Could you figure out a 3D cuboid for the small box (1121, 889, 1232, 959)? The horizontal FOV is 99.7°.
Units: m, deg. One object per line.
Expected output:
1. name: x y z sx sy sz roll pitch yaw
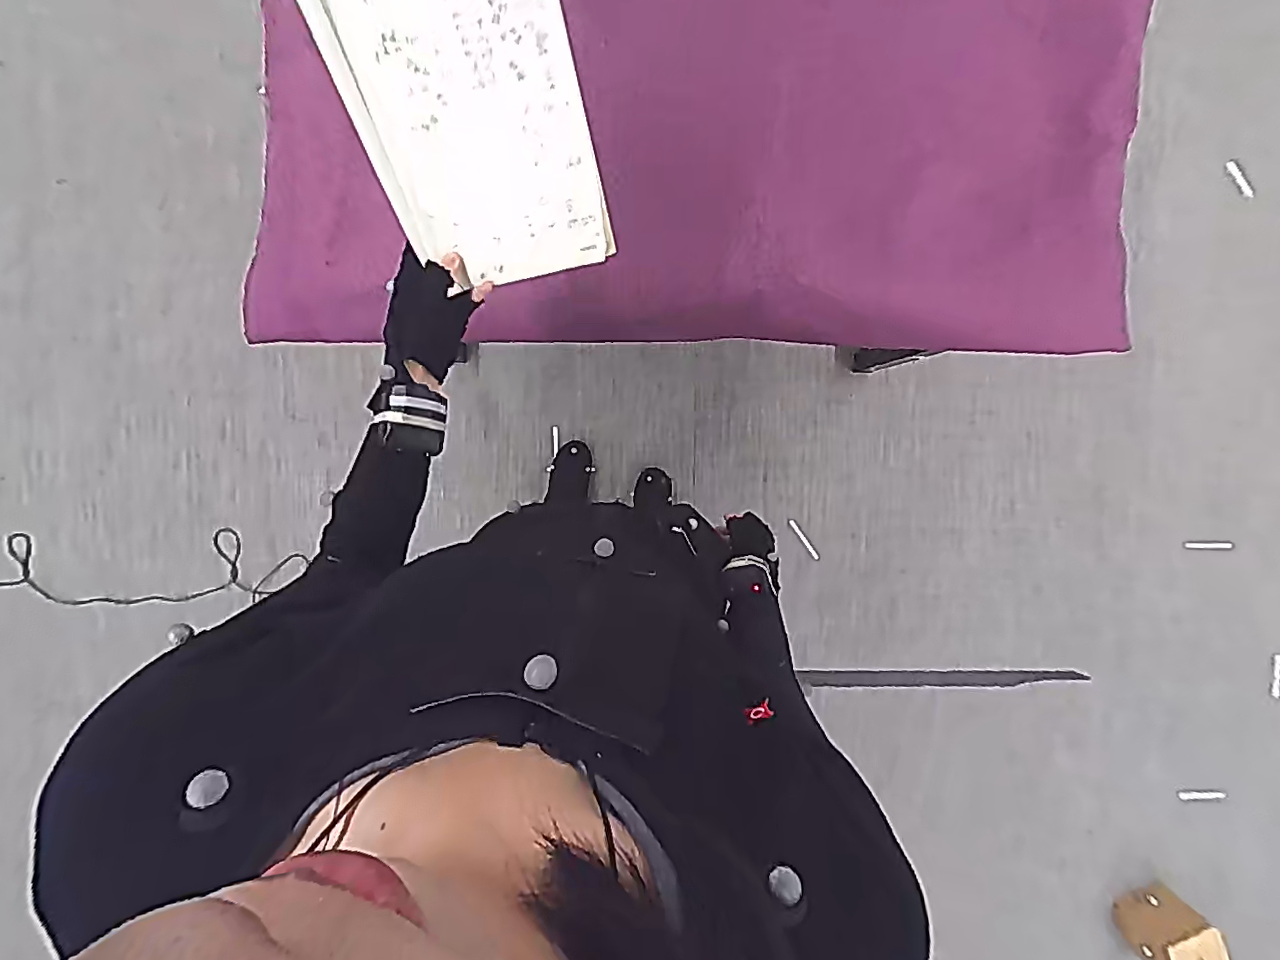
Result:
1. small box: 1.613 1.395 1.624 0.168 0.176 0.179 -22 93 -3
